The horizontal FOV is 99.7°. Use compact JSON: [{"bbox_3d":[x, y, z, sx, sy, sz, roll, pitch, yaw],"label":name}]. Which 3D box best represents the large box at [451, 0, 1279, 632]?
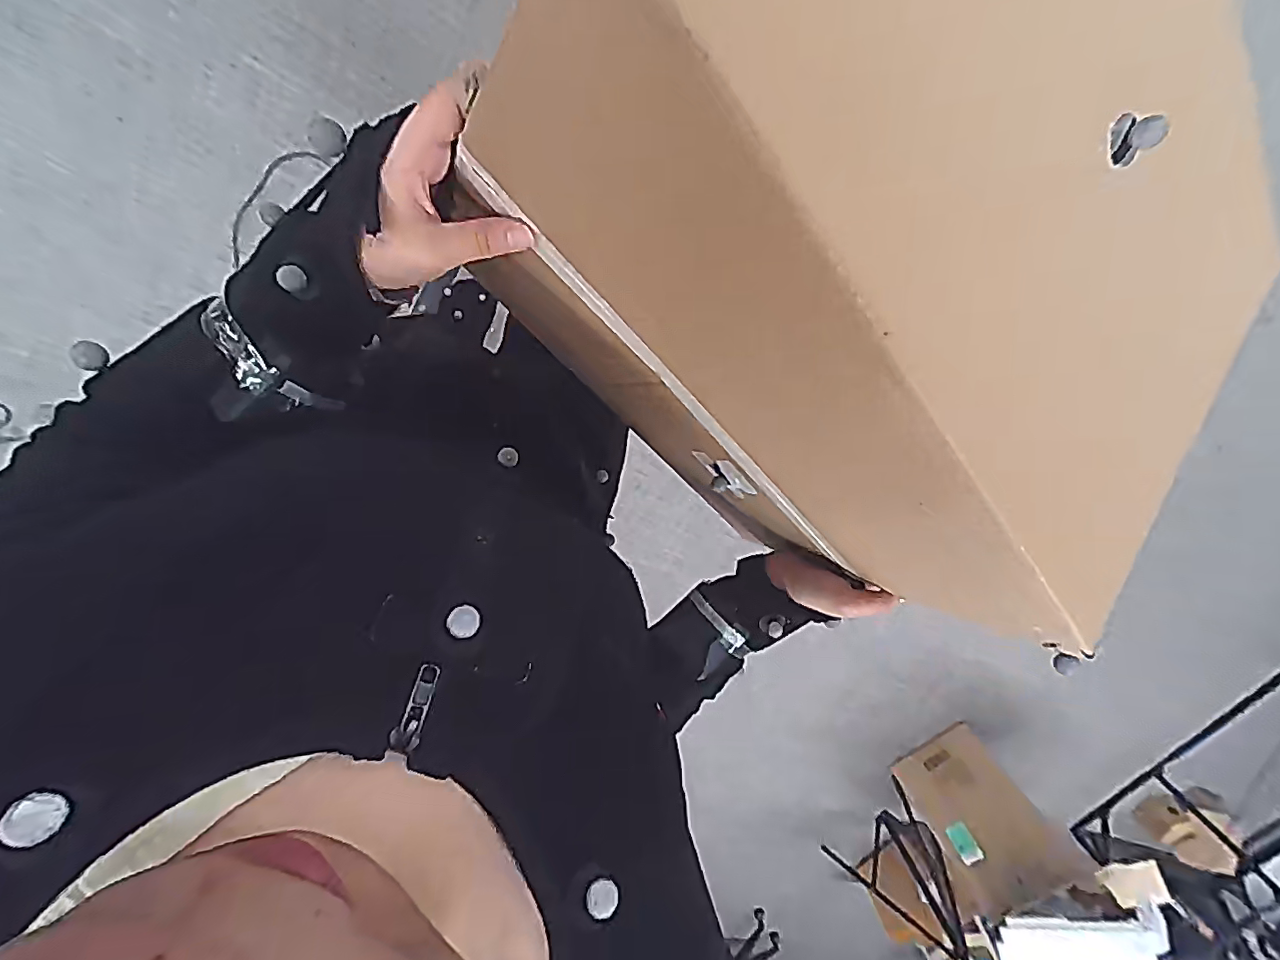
[{"bbox_3d":[0.156,-0.176,0.352,0.408,0.320,0.320,41,79,-26],"label":"large box"}]
